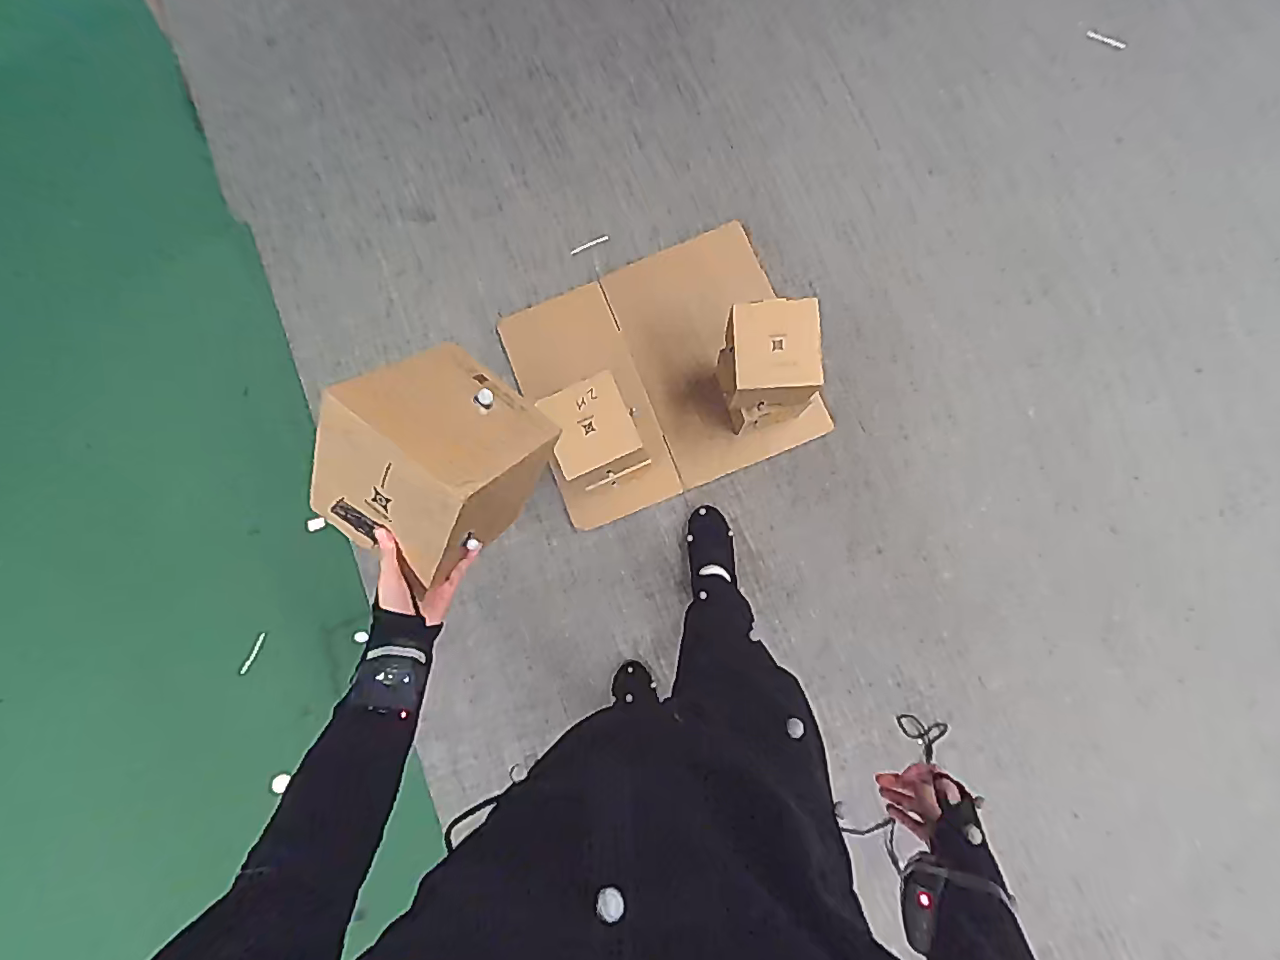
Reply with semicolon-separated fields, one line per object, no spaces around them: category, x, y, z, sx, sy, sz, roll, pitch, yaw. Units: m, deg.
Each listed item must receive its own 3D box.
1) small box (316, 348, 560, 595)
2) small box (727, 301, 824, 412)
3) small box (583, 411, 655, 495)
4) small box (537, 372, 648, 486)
small box;-0.214;-0.015;0.593;0.168;0.176;0.179;38;126;3
small box;0.269;-0.247;1.108;0.168;0.176;0.179;-2;83;4
small box;-0.072;-0.072;1.288;0.168;0.176;0.179;-24;81;2
small box;-0.090;-0.095;1.126;0.168;0.176;0.179;-23;82;2
